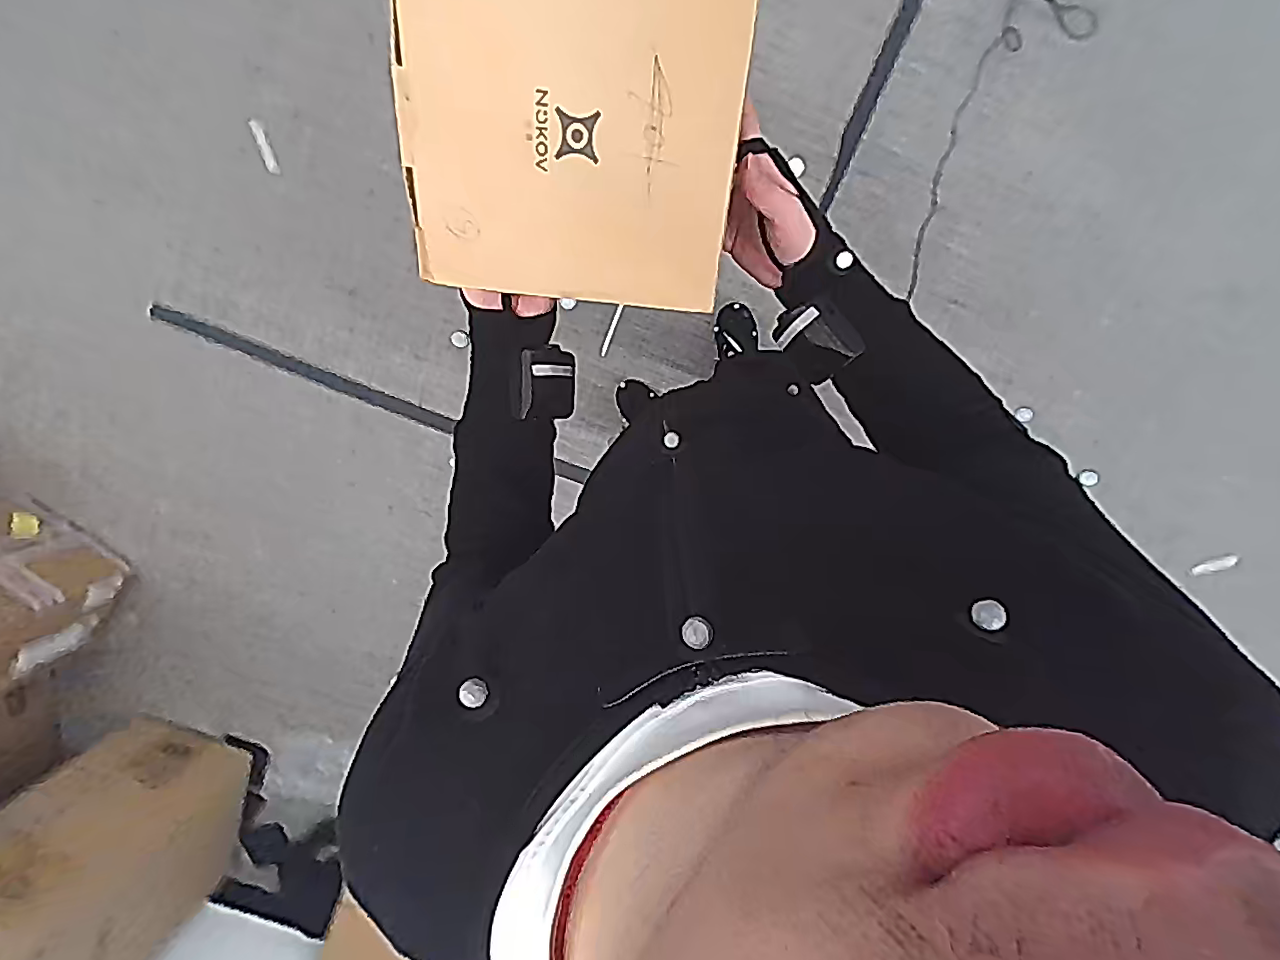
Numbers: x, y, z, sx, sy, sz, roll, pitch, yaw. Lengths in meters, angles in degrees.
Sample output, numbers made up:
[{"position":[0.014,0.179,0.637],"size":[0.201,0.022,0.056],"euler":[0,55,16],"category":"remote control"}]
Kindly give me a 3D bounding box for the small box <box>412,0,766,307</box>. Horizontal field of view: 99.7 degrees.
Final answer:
[{"position":[-0.028,-0.223,0.360],"size":[0.179,0.176,0.168],"euler":[6,120,-1],"category":"small box"}]
